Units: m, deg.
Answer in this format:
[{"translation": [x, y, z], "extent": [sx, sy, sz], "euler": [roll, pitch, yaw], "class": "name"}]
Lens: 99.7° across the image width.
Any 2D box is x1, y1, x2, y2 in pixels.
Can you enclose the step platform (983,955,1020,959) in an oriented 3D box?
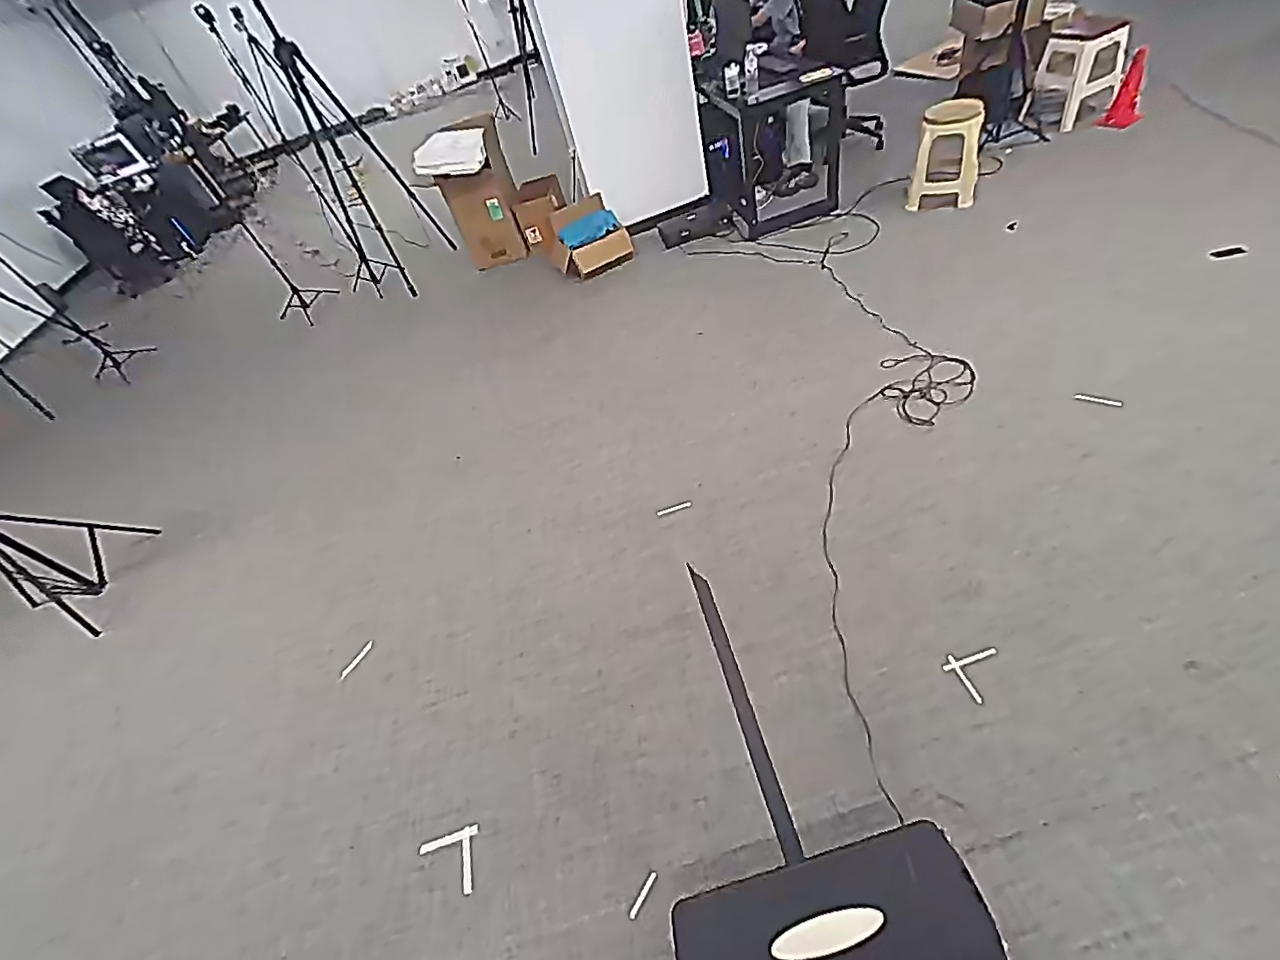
[{"translation": [0.469, 1.136, 0.971], "extent": [0.684, 0.204, 0.286], "euler": [-21, 45, 1], "class": "step platform"}]
